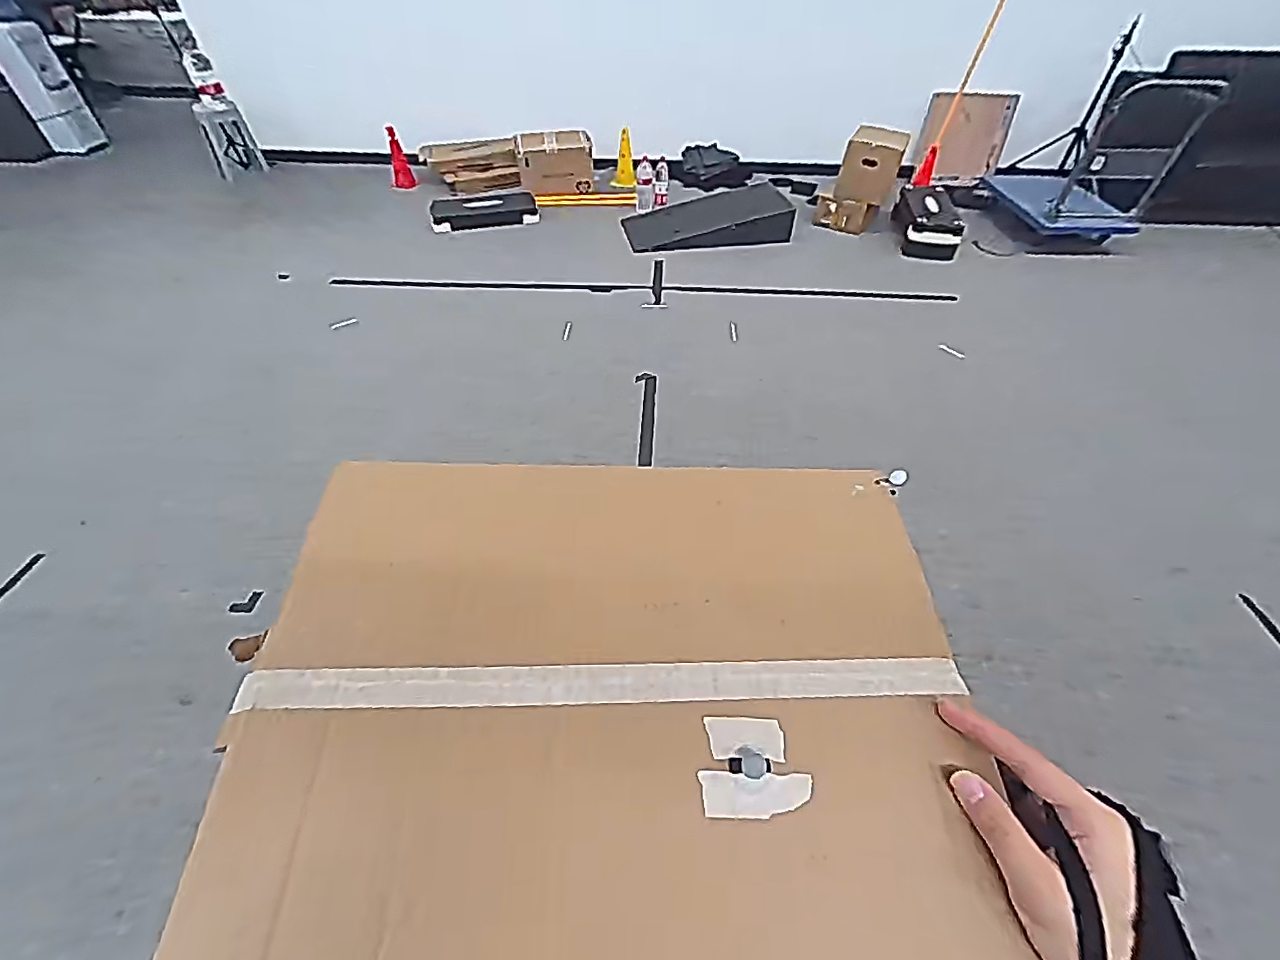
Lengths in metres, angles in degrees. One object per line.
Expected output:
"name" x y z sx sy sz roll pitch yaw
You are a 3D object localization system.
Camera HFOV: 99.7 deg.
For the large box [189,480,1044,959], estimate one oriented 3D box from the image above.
"large box" -0.020 0.213 0.439 0.408 0.320 0.320 1 55 -5
